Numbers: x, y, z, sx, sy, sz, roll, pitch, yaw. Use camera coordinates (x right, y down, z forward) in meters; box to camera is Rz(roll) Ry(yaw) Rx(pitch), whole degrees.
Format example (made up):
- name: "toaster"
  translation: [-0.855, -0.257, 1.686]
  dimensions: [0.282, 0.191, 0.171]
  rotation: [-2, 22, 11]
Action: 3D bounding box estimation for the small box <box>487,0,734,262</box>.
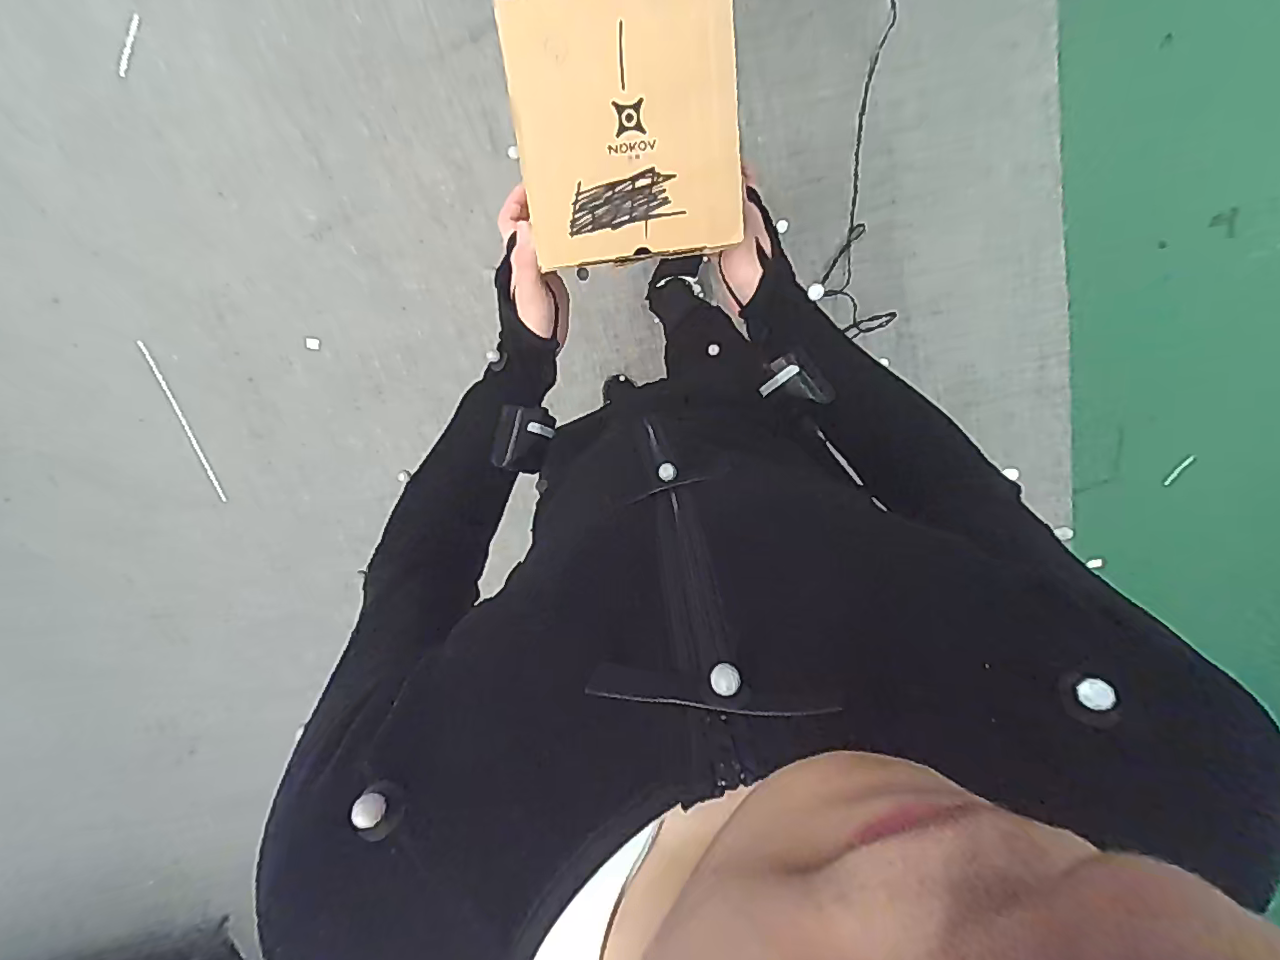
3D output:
- name: "small box"
  translation: [-0.019, -0.293, 0.470]
  dimensions: [0.168, 0.176, 0.179]
  rotation: [-8, 112, -2]
